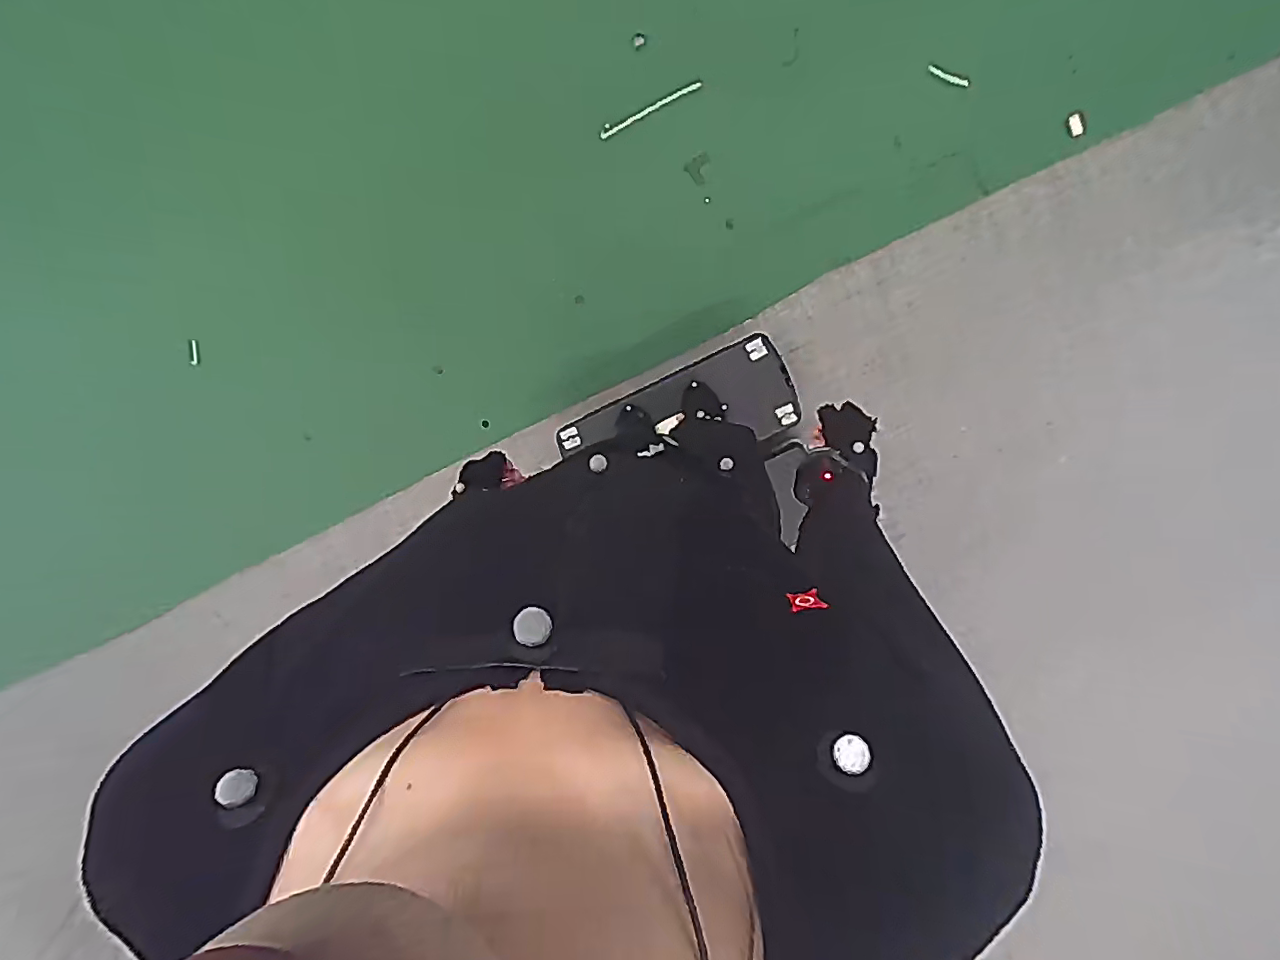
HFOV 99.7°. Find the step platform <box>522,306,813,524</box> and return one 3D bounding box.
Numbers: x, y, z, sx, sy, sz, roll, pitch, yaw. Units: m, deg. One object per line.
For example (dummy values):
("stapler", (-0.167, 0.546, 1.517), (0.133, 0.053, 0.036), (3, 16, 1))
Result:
("step platform", (0.063, -0.159, 1.358), (0.684, 0.204, 0.286), (-26, 97, 7))
